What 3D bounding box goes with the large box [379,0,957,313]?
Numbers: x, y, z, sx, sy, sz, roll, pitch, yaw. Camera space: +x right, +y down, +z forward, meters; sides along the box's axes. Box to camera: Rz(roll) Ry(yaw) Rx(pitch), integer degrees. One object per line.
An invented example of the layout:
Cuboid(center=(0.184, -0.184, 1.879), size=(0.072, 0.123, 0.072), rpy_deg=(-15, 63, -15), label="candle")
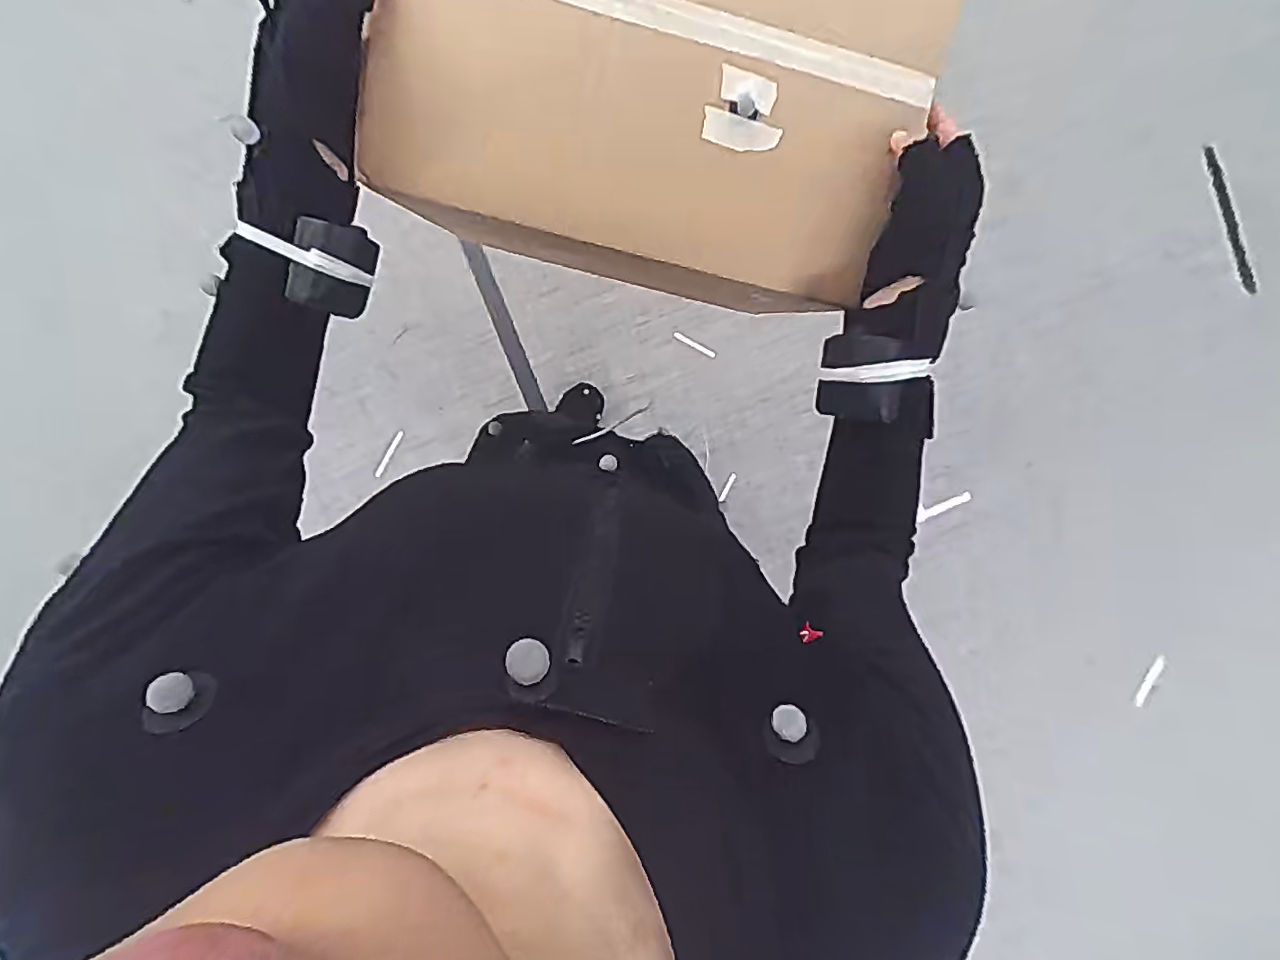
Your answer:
Cuboid(center=(0.014, -0.370, 0.540), size=(0.408, 0.320, 0.320), rpy_deg=(13, 106, -8), label="large box")
